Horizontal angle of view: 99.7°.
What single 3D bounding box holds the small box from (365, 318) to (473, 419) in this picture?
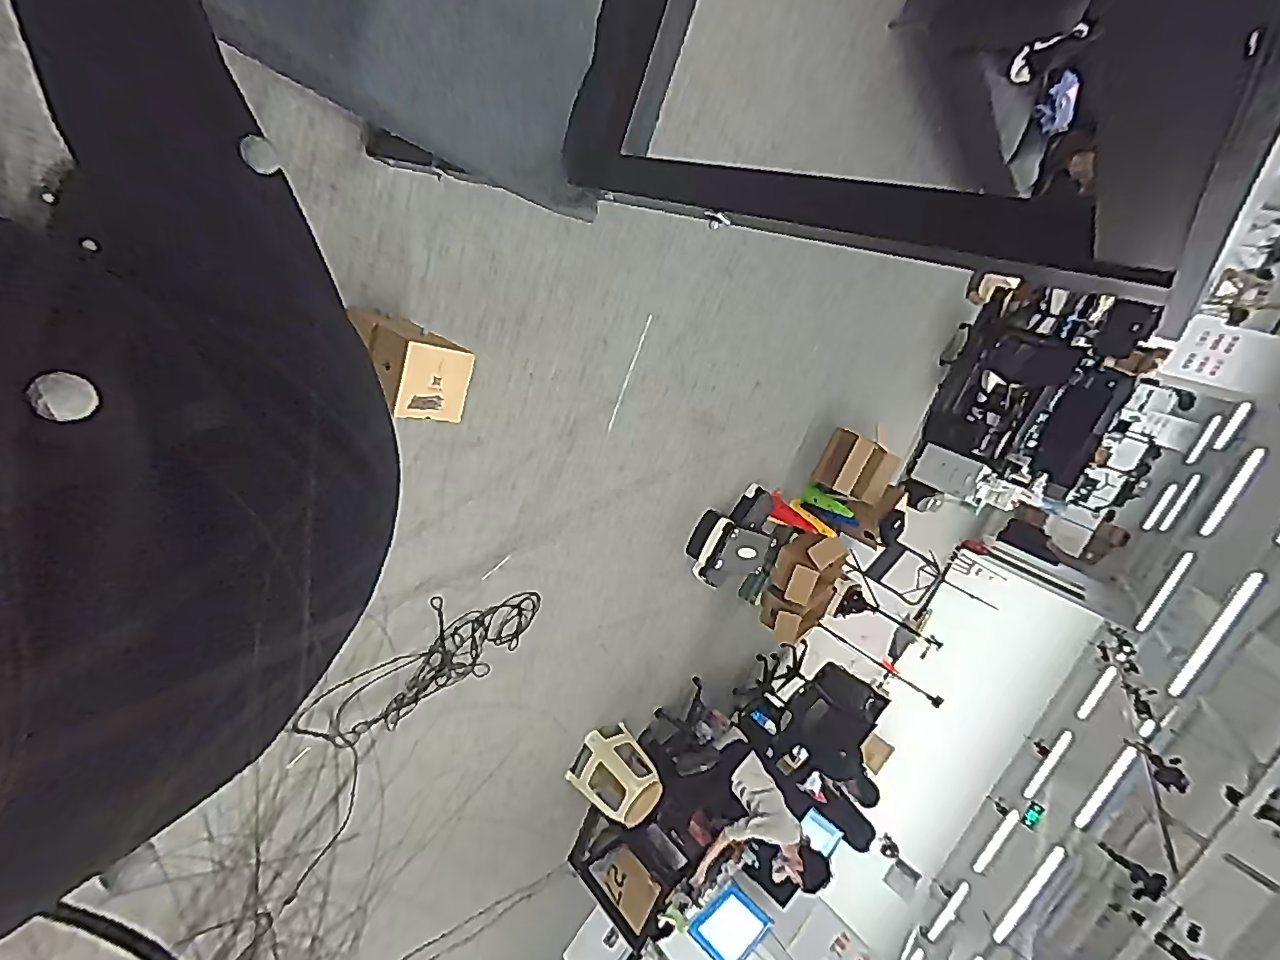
[{"bbox_3d":[-0.528,-0.262,1.278,0.168,0.176,0.179,1,114,-50],"label":"small box"}]
